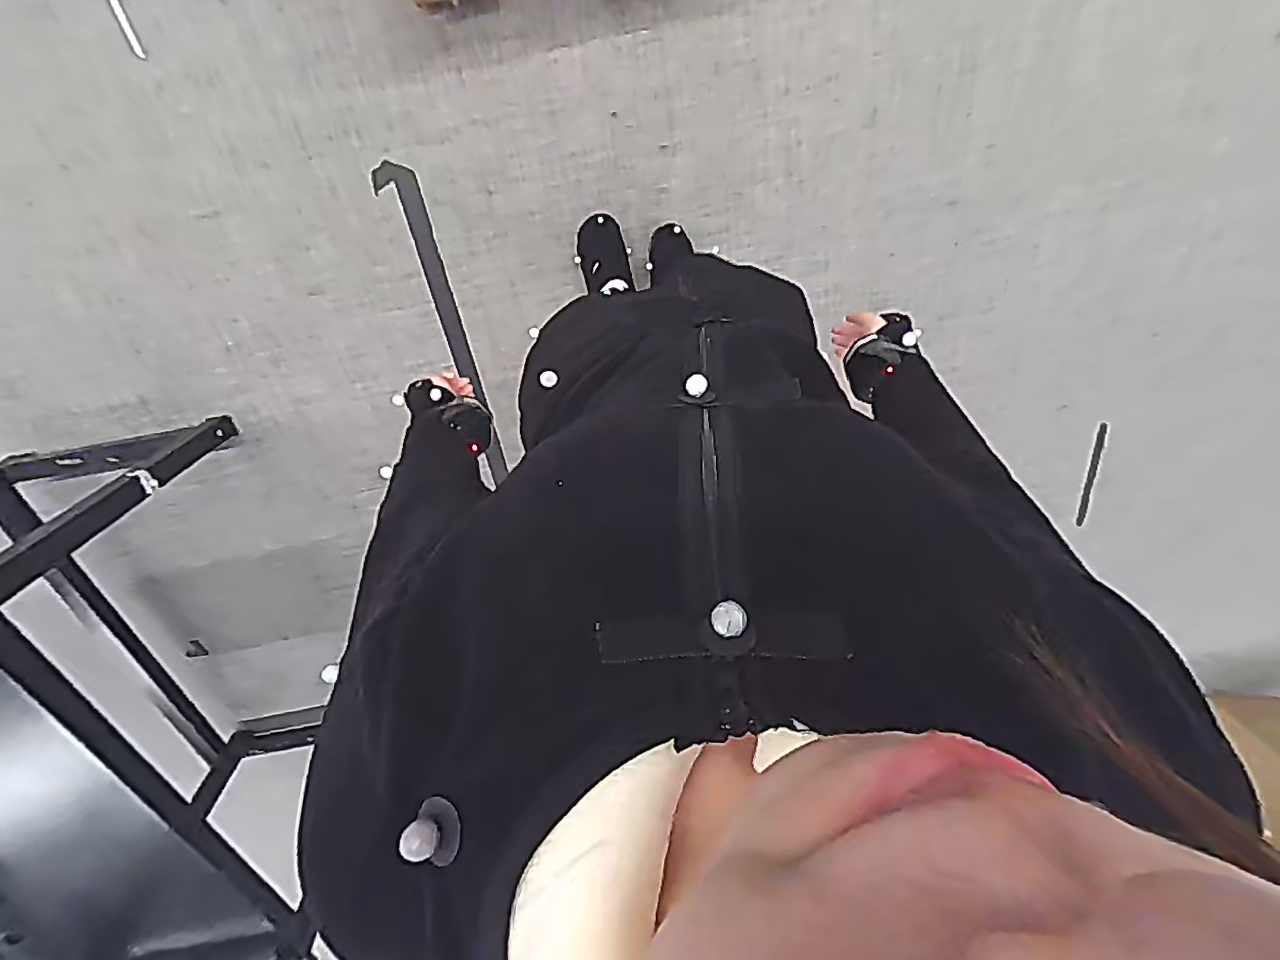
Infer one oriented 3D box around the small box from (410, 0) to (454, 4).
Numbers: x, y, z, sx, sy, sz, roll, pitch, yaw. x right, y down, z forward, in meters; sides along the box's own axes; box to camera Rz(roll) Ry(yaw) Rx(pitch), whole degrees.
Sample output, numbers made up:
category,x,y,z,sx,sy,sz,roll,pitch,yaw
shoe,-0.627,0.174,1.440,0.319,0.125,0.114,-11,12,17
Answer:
category,x,y,z,sx,sy,sz,roll,pitch,yaw
small box,-0.356,-0.960,0.936,0.179,0.176,0.168,-10,119,-2
